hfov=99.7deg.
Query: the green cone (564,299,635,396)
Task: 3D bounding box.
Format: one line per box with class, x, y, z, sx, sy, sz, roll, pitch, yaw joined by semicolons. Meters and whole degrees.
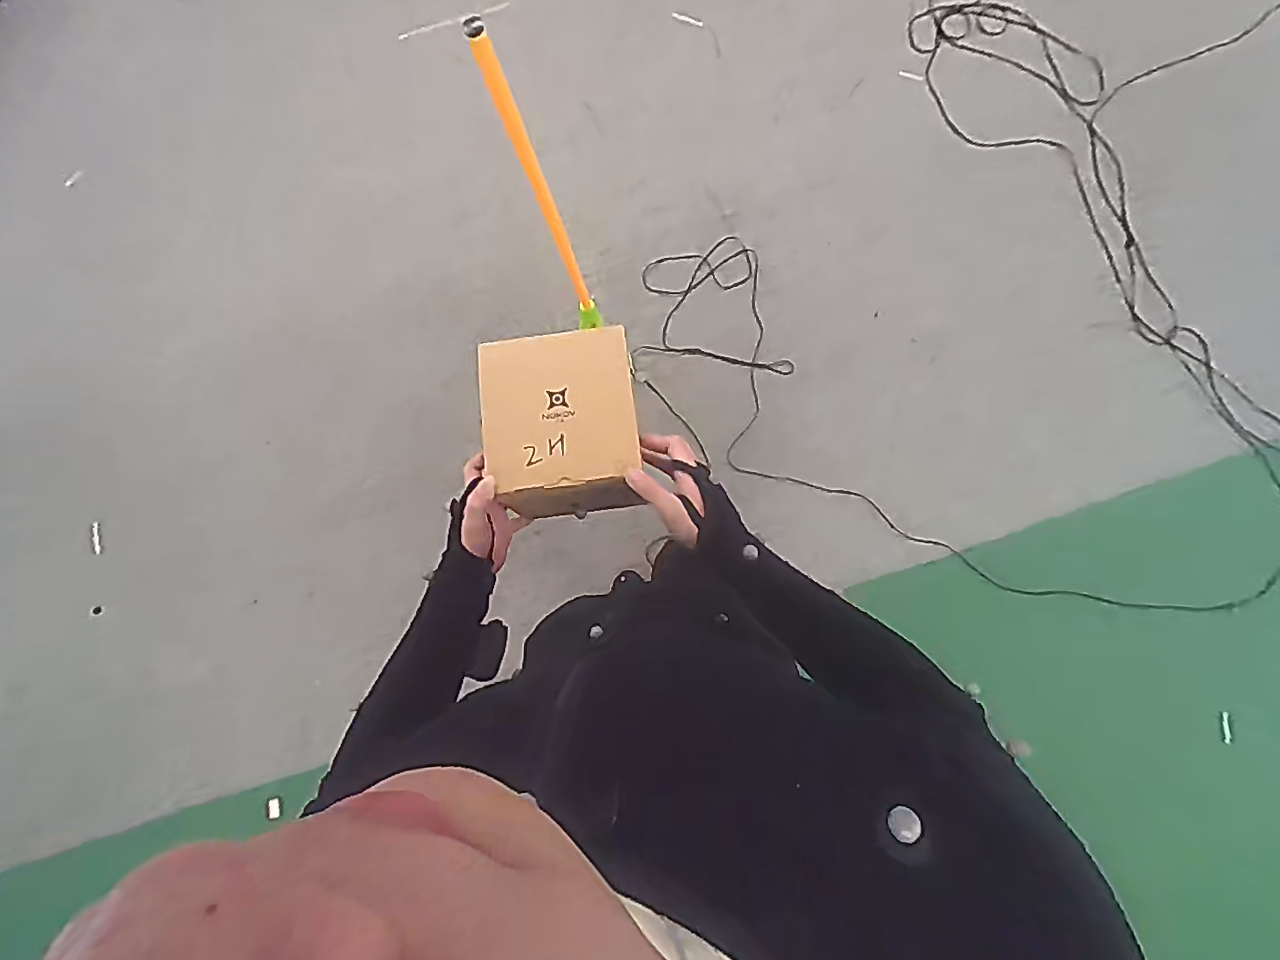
green cone;-0.136;-0.419;1.604;0.202;0.368;0.200;-17;78;-3
